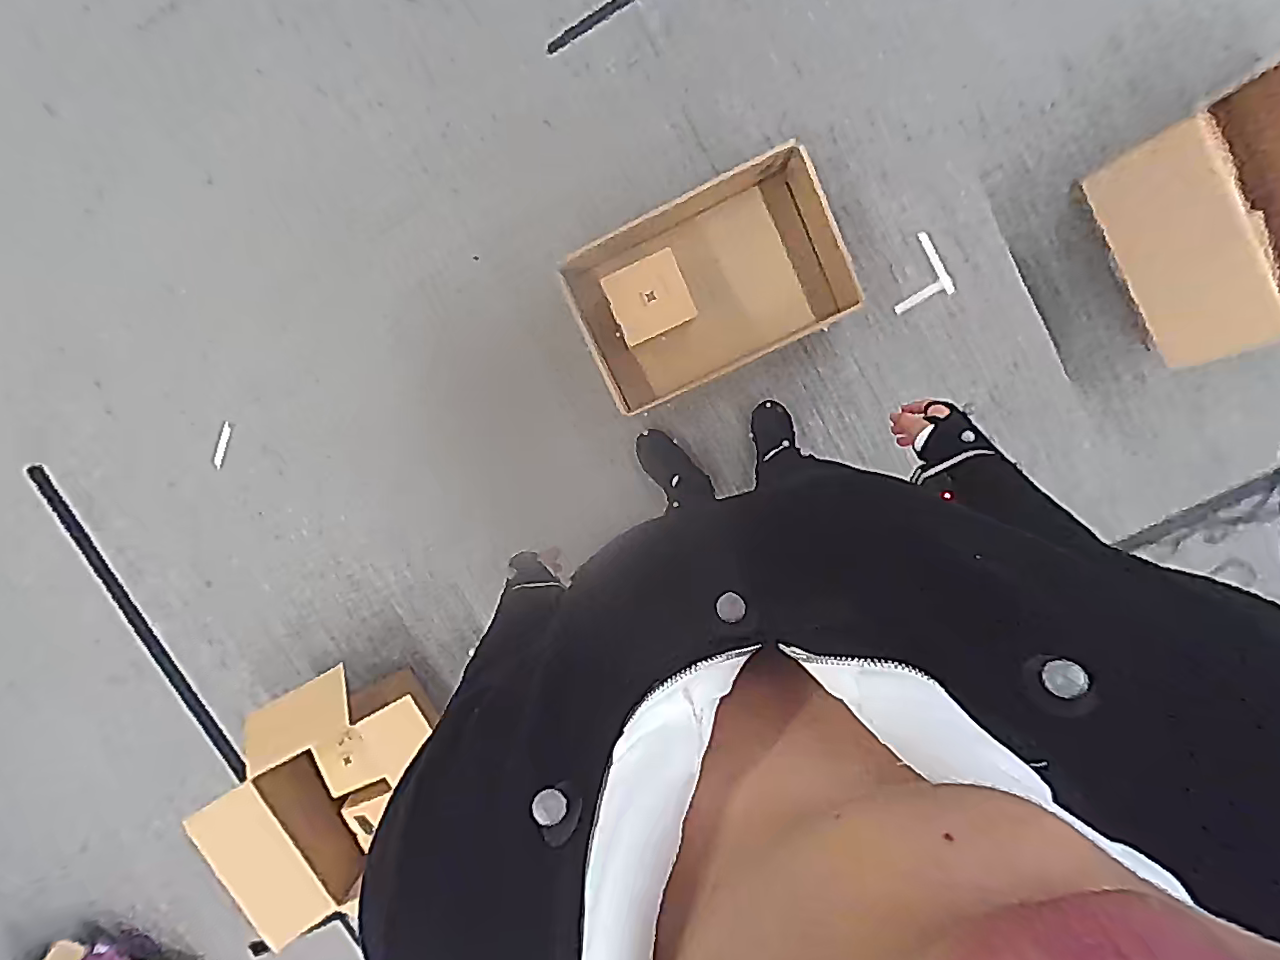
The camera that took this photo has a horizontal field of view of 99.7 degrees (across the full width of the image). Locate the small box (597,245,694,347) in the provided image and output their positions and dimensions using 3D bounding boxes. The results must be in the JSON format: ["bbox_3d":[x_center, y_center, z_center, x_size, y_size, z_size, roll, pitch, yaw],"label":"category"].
[{"bbox_3d":[0.013,-0.432,1.302,0.179,0.176,0.168,-25,99,3],"label":"small box"}]
